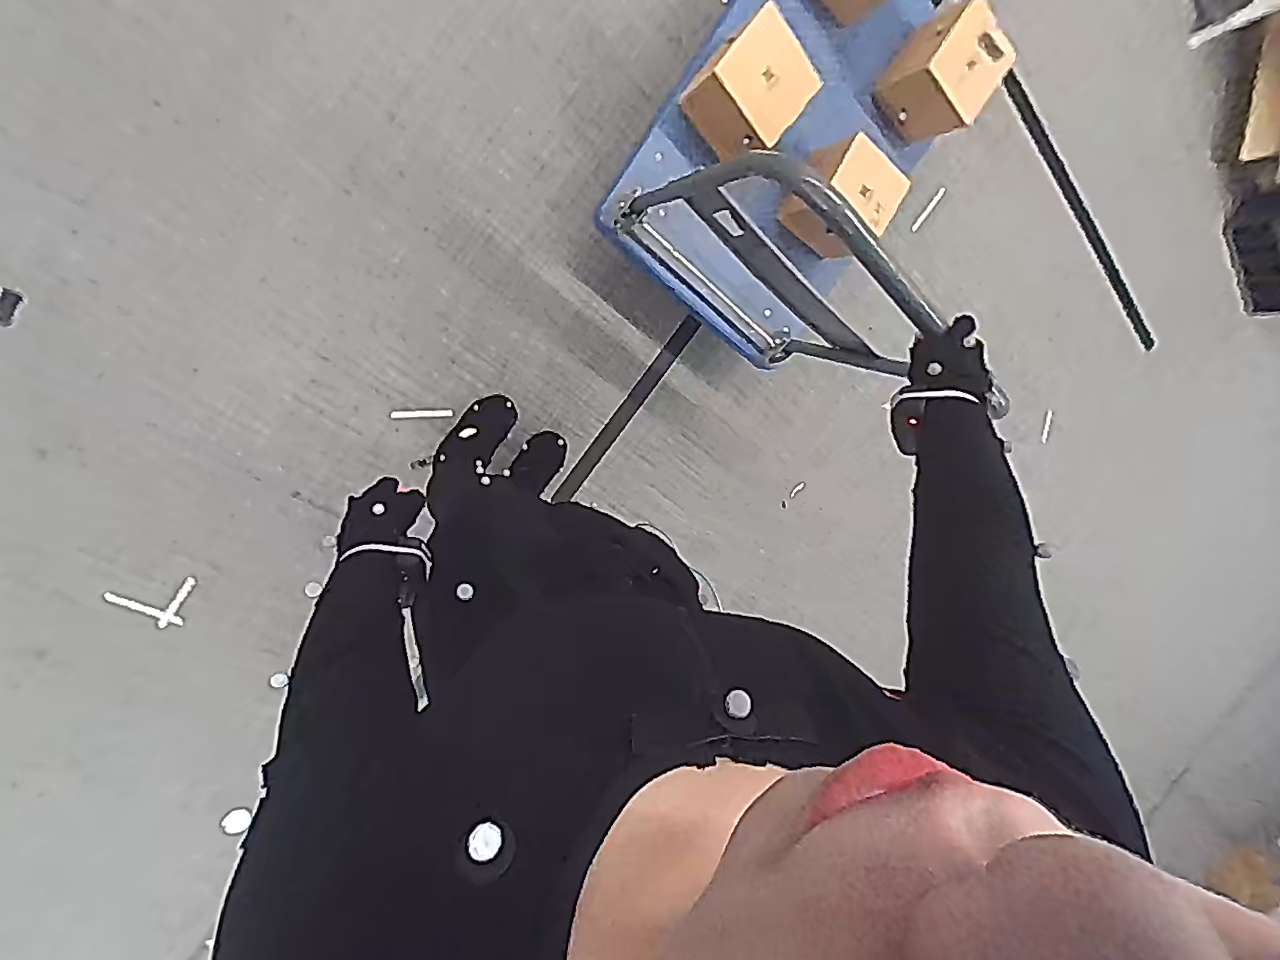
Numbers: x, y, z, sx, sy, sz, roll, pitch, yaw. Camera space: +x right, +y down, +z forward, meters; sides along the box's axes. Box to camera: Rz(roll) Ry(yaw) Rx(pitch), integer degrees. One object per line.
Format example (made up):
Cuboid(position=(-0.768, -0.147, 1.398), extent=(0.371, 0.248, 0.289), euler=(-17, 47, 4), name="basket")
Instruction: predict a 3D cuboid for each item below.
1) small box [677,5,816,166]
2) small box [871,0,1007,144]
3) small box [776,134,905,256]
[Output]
Cuboid(position=(0.206, -0.771, 1.082), extent=(0.179, 0.176, 0.168), euler=(38, 90, -28), name="small box")
Cuboid(position=(0.660, -0.901, 1.209), extent=(0.168, 0.176, 0.179), euler=(32, 95, -26), name="small box")
Cuboid(position=(0.441, -0.625, 1.216), extent=(0.179, 0.176, 0.168), euler=(26, 96, -25), name="small box")
